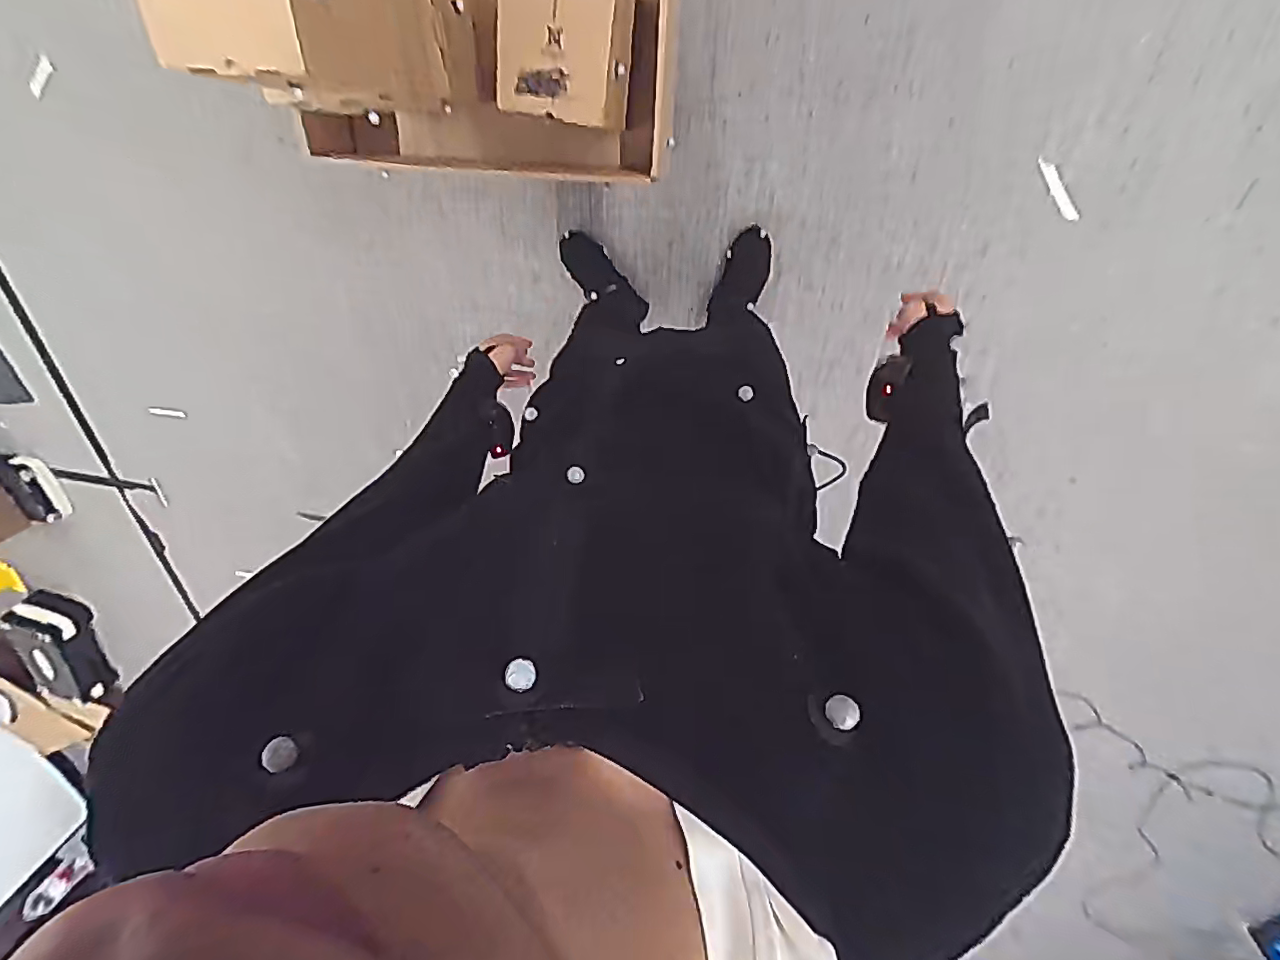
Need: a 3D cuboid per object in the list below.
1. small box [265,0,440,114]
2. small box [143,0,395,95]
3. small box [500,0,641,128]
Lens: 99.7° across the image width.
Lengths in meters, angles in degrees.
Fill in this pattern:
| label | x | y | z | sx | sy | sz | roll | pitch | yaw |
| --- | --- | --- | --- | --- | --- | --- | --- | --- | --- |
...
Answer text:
| label | x | y | z | sx | sy | sz | roll | pitch | yaw |
| --- | --- | --- | --- | --- | --- | --- | --- | --- | --- |
| small box | -0.393 | -0.600 | 0.721 | 0.168 | 0.176 | 0.179 | 3 | 122 | 8 |
| small box | -0.391 | -0.525 | 0.573 | 0.168 | 0.176 | 0.179 | 5 | 122 | 6 |
| small box | -0.101 | -0.649 | 0.821 | 0.168 | 0.176 | 0.179 | 13 | 123 | 4 |
